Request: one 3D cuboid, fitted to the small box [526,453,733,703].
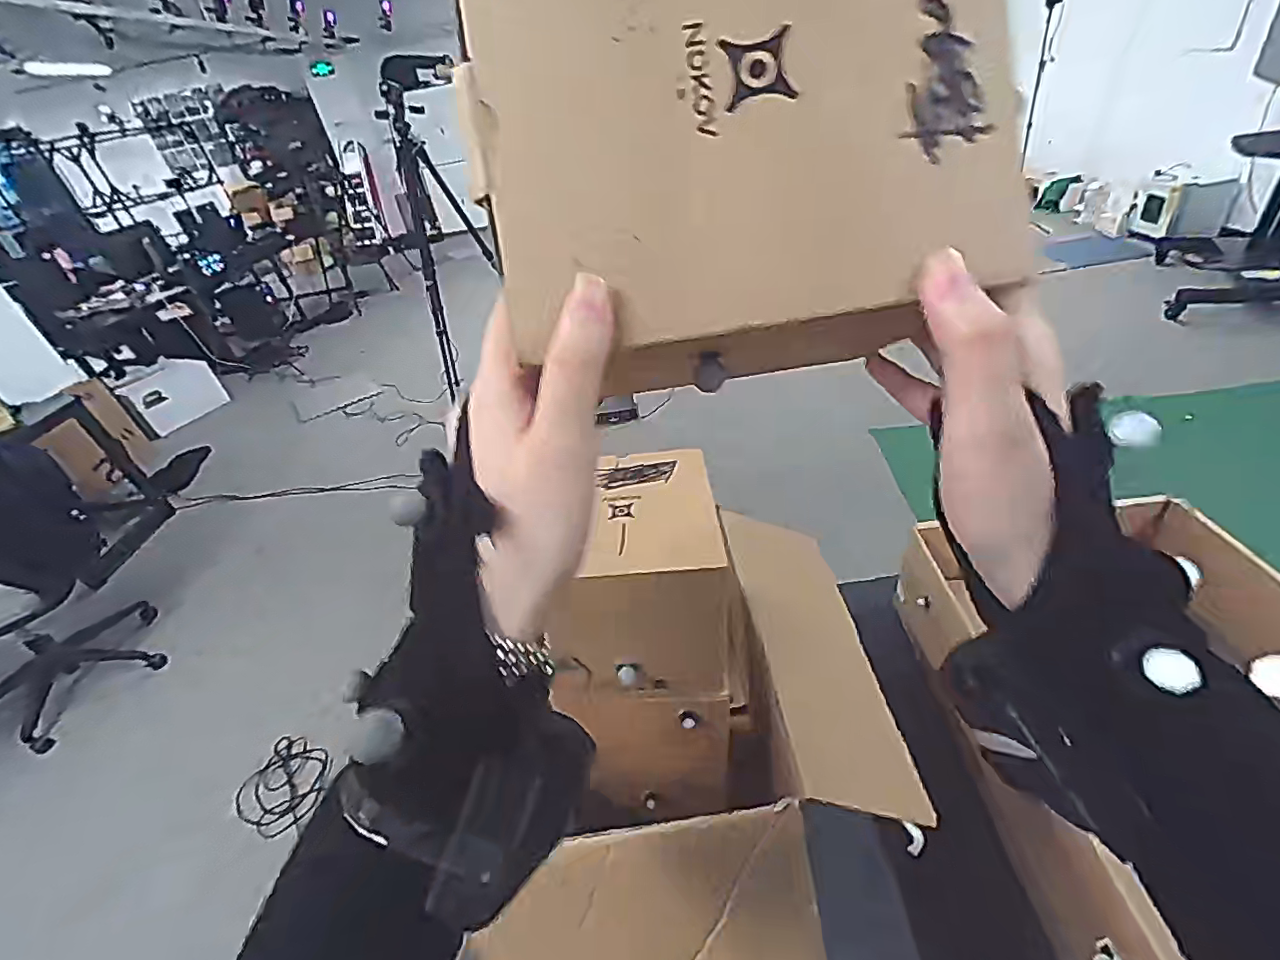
[{"bbox_3d":[-0.006,0.092,0.535,0.168,0.176,0.179,-5,35,1],"label":"small box"}]

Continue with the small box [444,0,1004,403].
[{"bbox_3d":[0.031,-0.135,0.262,0.179,0.168,0.176,-8,3,5],"label":"small box"}]
